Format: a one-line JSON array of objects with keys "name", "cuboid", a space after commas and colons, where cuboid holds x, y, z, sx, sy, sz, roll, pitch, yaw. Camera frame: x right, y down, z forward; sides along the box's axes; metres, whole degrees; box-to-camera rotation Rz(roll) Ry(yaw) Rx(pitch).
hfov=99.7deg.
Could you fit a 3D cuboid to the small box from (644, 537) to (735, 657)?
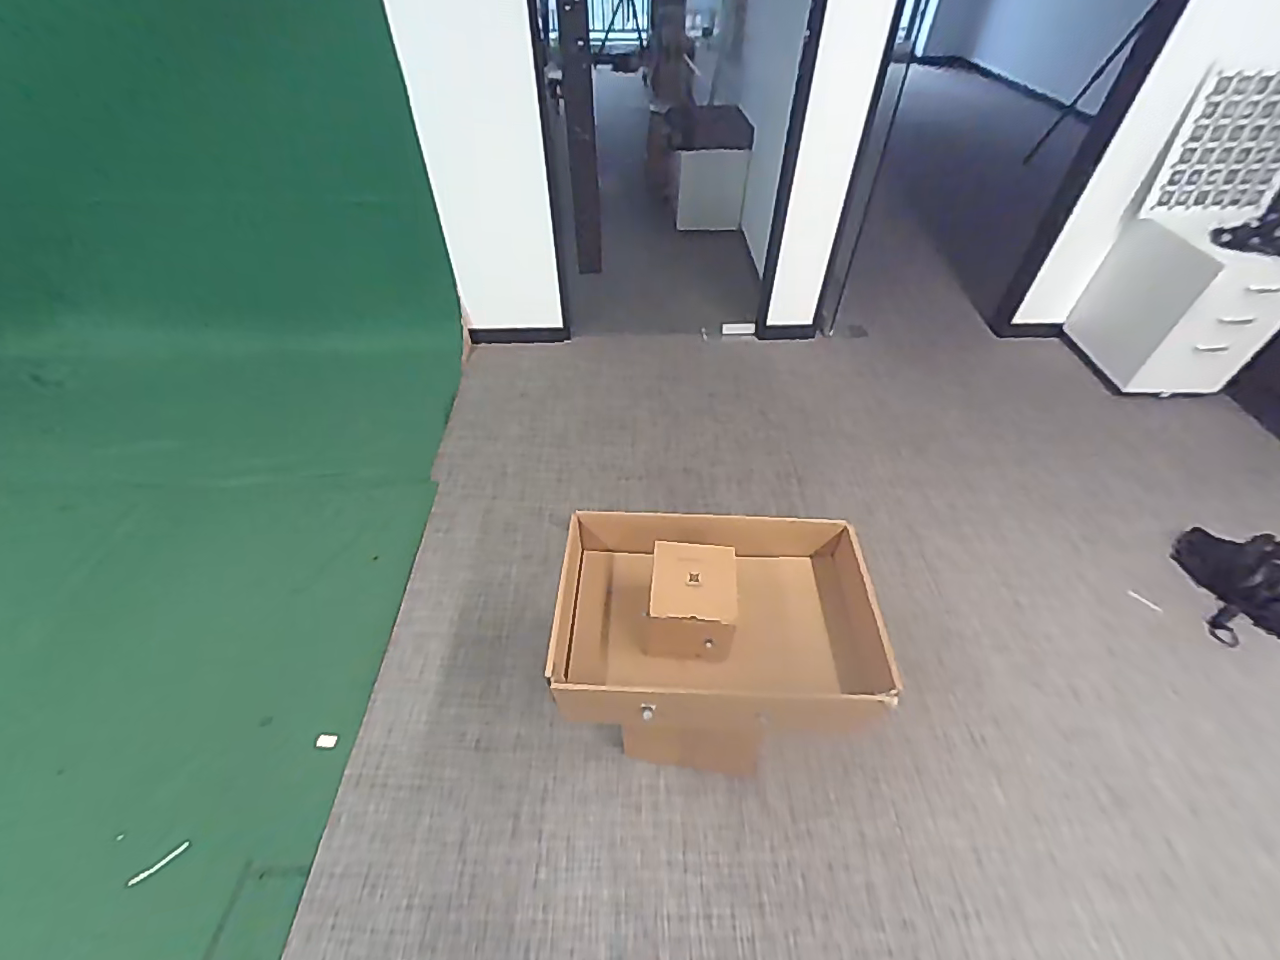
[{"name": "small box", "cuboid": [0.098, 0.242, 1.105, 0.168, 0.176, 0.179, 5, 45, 1]}]
